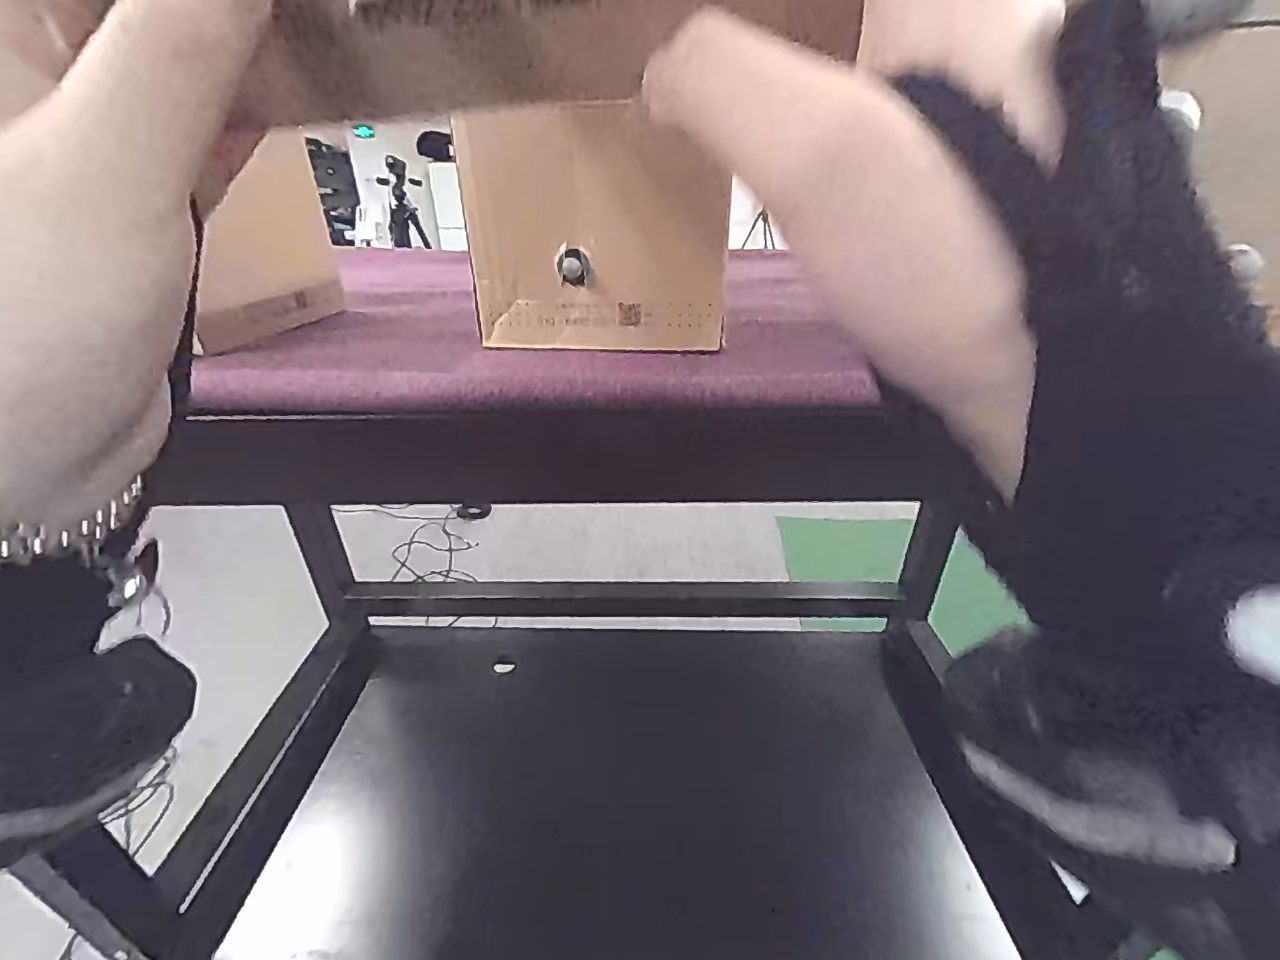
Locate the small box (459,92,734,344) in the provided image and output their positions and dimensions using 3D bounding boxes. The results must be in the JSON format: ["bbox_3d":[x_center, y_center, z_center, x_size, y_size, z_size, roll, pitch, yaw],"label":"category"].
[{"bbox_3d":[-0.021,-0.206,0.400,0.168,0.176,0.179,2,29,6],"label":"small box"}]

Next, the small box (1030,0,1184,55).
[{"bbox_3d":[0.360,-0.350,0.297,0.168,0.176,0.179,1,30,7],"label":"small box"}]
